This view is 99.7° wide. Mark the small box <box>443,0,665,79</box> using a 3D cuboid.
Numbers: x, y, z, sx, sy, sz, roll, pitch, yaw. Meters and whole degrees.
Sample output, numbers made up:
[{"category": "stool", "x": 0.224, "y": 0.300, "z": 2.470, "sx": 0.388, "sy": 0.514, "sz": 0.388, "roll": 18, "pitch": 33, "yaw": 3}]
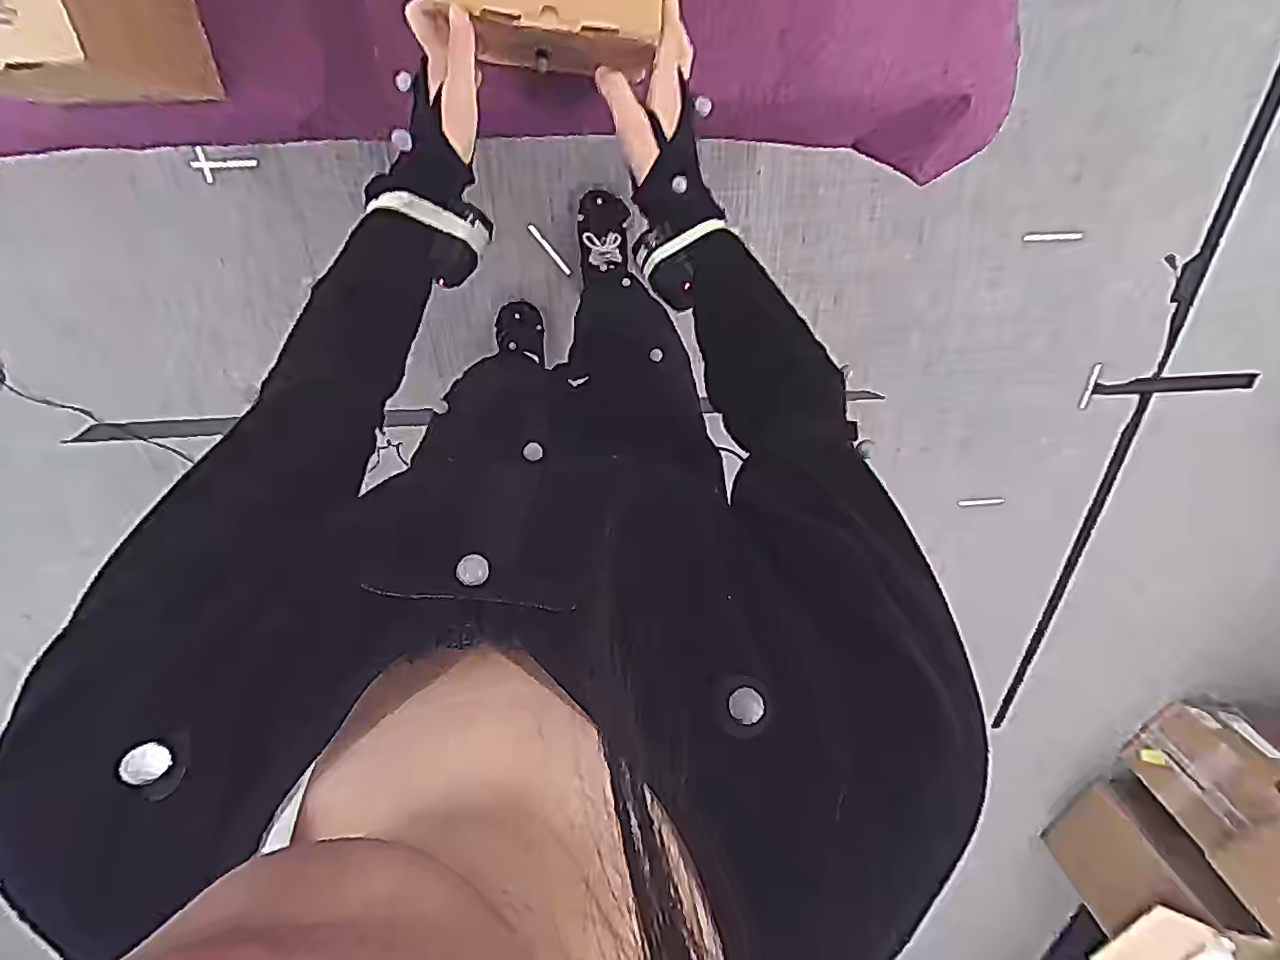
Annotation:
[{"category": "small box", "x": -0.063, "y": -0.451, "z": 0.432, "sx": 0.168, "sy": 0.176, "sz": 0.179, "roll": 3, "pitch": 118, "yaw": -7}]
